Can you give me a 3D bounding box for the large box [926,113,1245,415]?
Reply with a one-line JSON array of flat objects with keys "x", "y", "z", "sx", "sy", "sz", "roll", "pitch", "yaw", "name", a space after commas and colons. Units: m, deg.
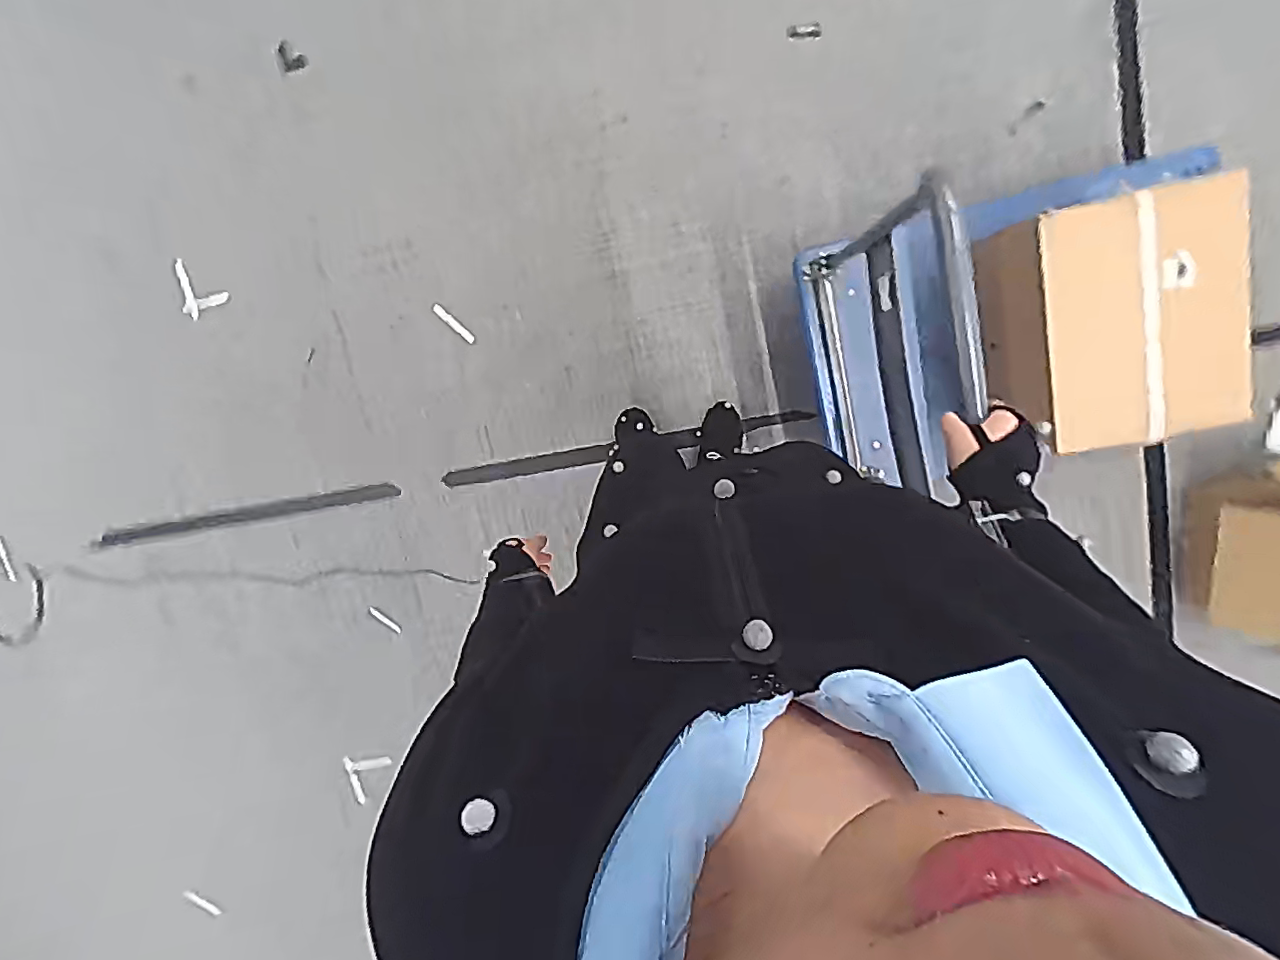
[{"x": 0.801, "y": -0.364, "z": 1.025, "sx": 0.320, "sy": 0.320, "sz": 0.408, "roll": -17, "pitch": 98, "yaw": 6, "name": "large box"}]
